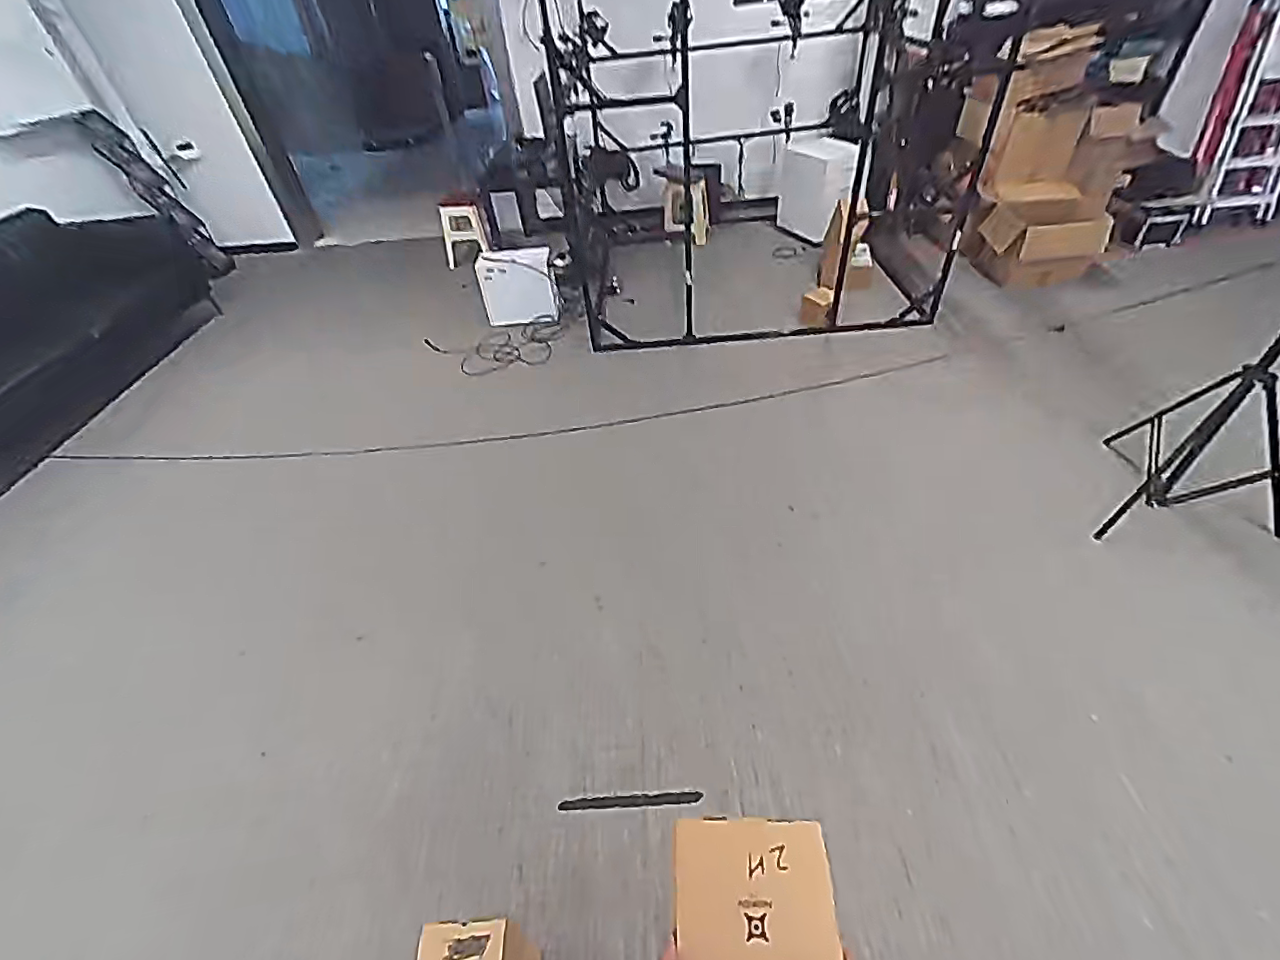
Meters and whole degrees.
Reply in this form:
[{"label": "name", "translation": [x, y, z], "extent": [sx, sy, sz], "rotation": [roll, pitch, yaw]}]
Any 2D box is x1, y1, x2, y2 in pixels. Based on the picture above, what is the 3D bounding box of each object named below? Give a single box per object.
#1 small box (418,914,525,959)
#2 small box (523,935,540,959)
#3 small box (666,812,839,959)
[{"label": "small box", "translation": [-0.327, 0.966, 1.043], "extent": [0.168, 0.176, 0.179], "rotation": [-5, 44, 3]}, {"label": "small box", "translation": [-0.318, 1.088, 1.153], "extent": [0.179, 0.176, 0.168], "rotation": [-5, 43, 2]}, {"label": "small box", "translation": [0.116, 0.495, 0.612], "extent": [0.168, 0.176, 0.179], "rotation": [1, 48, 1]}]
